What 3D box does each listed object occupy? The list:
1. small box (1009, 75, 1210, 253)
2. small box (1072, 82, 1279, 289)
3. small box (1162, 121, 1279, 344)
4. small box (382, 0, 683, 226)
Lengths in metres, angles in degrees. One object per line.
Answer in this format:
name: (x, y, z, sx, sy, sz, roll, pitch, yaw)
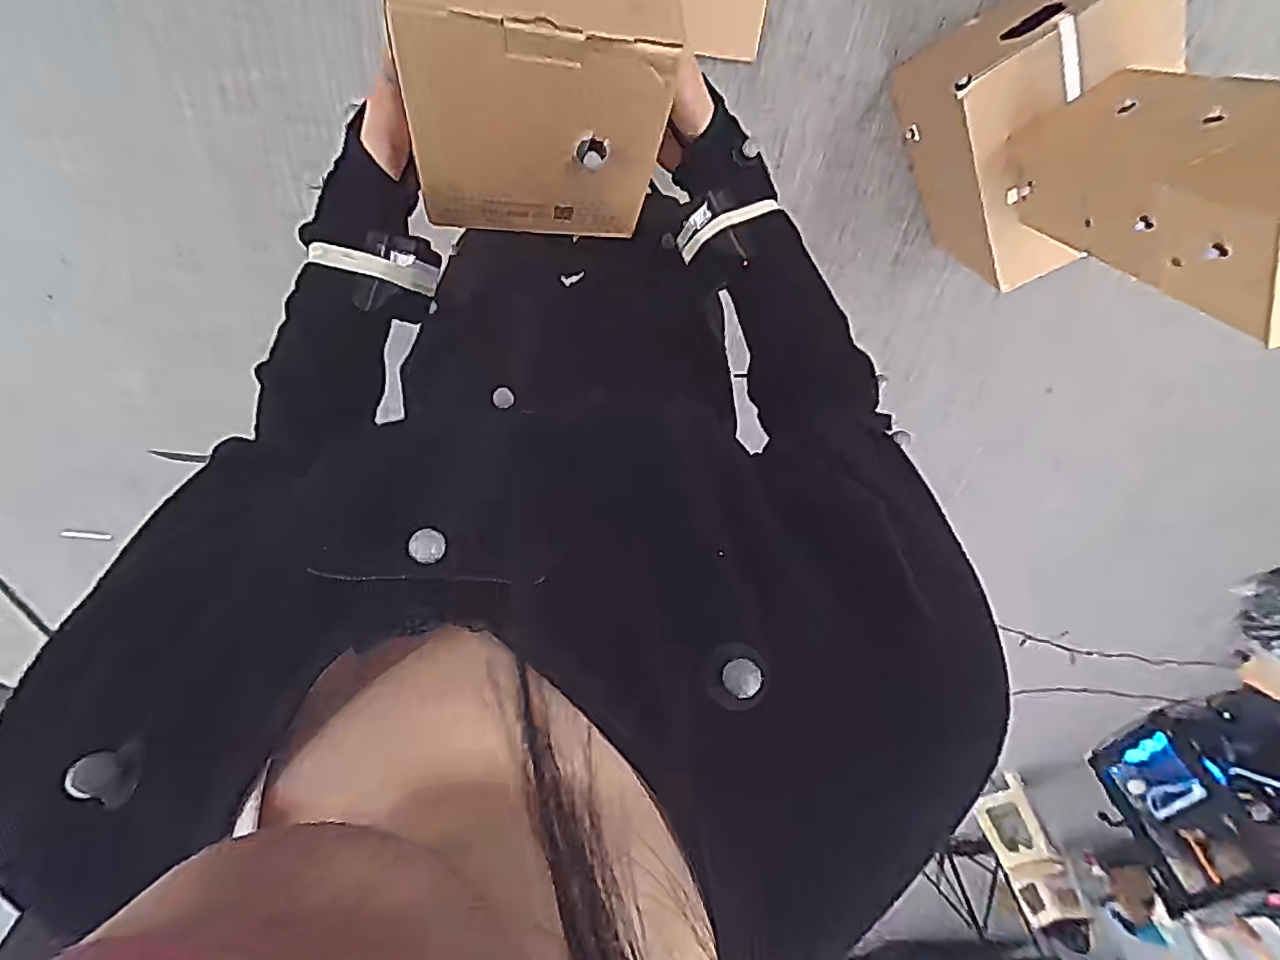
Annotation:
small box: (0.729, -0.501, 0.853, 0.179, 0.176, 0.168, -27, 125, 20)
small box: (0.734, -0.398, 0.726, 0.179, 0.176, 0.168, -27, 125, 19)
small box: (0.738, -0.290, 0.604, 0.179, 0.176, 0.168, -27, 125, 20)
small box: (-0.075, -0.312, 0.387, 0.168, 0.179, 0.176, -1, 167, -13)
